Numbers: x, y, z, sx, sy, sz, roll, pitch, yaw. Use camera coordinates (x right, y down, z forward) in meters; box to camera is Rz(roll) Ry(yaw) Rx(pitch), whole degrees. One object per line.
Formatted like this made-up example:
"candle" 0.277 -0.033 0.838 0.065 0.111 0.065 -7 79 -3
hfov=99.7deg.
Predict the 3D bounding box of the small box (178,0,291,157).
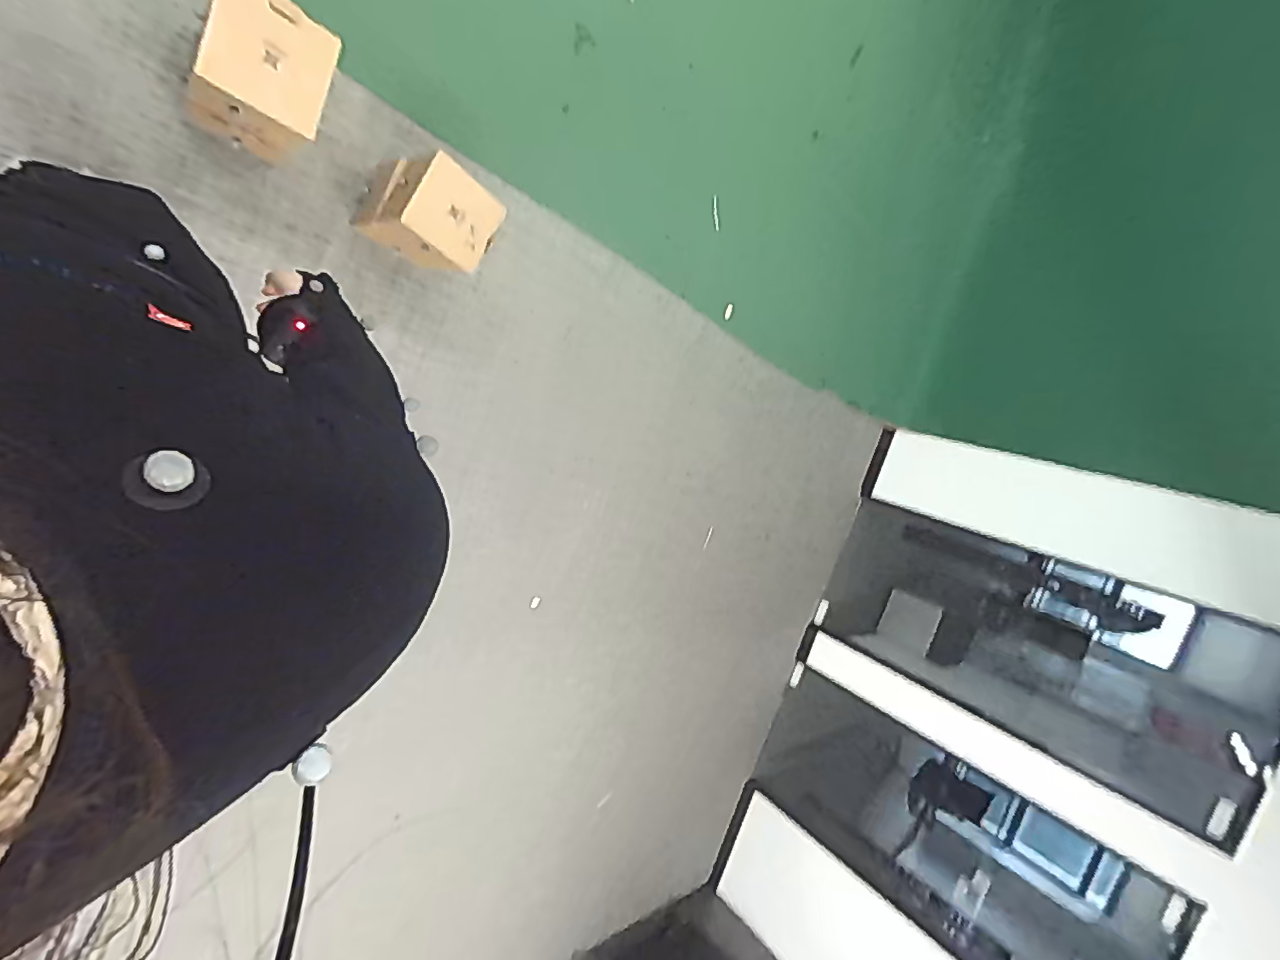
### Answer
"small box" -0.745 -0.741 1.016 0.168 0.176 0.179 13 99 -45

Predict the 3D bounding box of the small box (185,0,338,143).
"small box" -0.636 -0.700 0.903 0.168 0.176 0.179 14 96 -45

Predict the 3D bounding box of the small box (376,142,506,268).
"small box" -0.427 -0.575 1.153 0.179 0.176 0.168 31 87 -46
